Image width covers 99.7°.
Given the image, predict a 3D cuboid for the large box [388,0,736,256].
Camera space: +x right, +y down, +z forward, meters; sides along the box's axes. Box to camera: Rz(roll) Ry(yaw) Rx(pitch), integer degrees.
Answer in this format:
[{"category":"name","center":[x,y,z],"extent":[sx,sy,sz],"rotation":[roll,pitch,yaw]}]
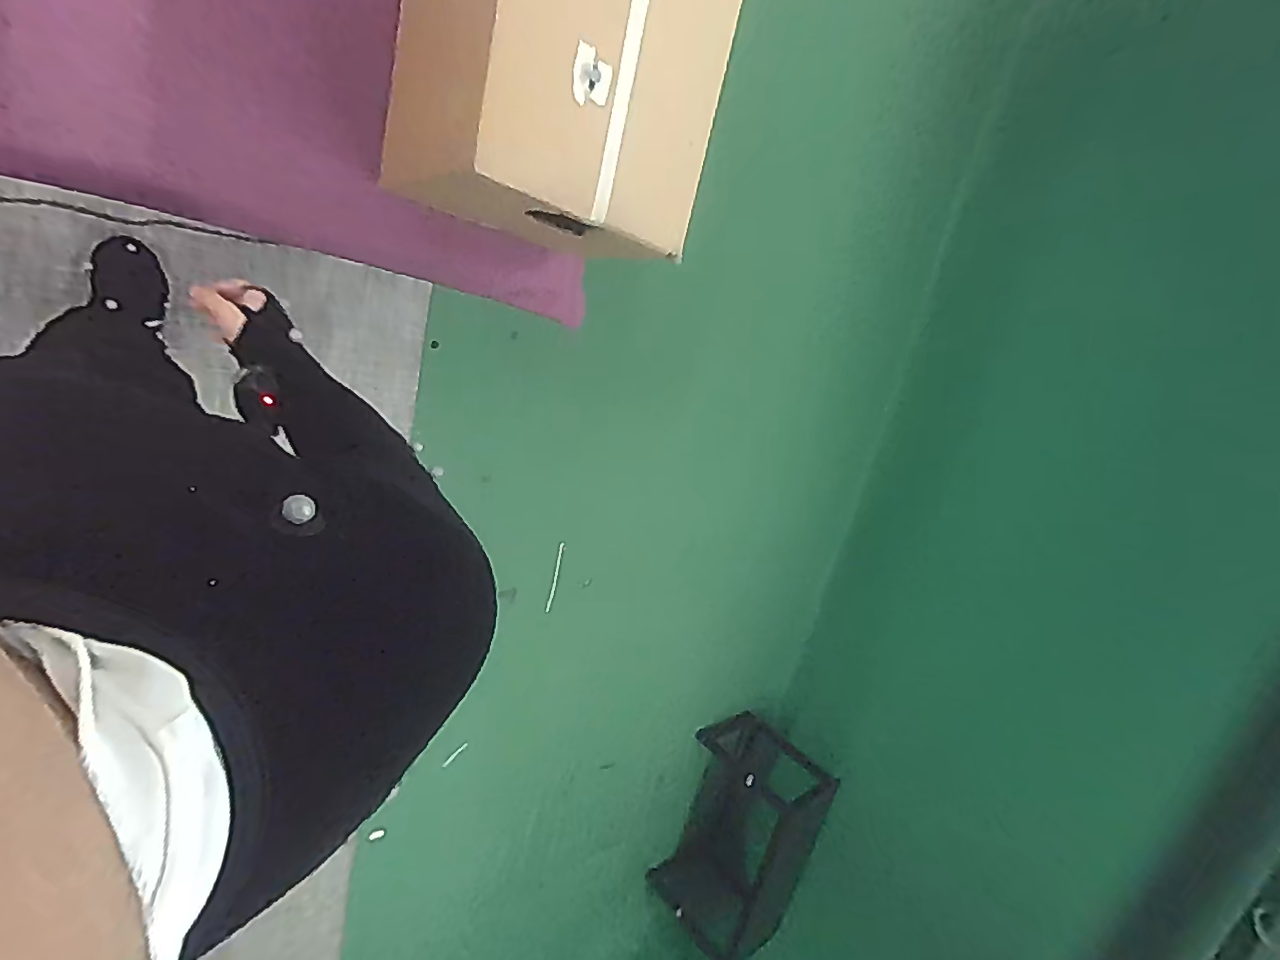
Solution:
[{"category":"large box","center":[-0.110,-0.554,0.715],"extent":[0.320,0.320,0.408],"rotation":[0,110,-43]}]
